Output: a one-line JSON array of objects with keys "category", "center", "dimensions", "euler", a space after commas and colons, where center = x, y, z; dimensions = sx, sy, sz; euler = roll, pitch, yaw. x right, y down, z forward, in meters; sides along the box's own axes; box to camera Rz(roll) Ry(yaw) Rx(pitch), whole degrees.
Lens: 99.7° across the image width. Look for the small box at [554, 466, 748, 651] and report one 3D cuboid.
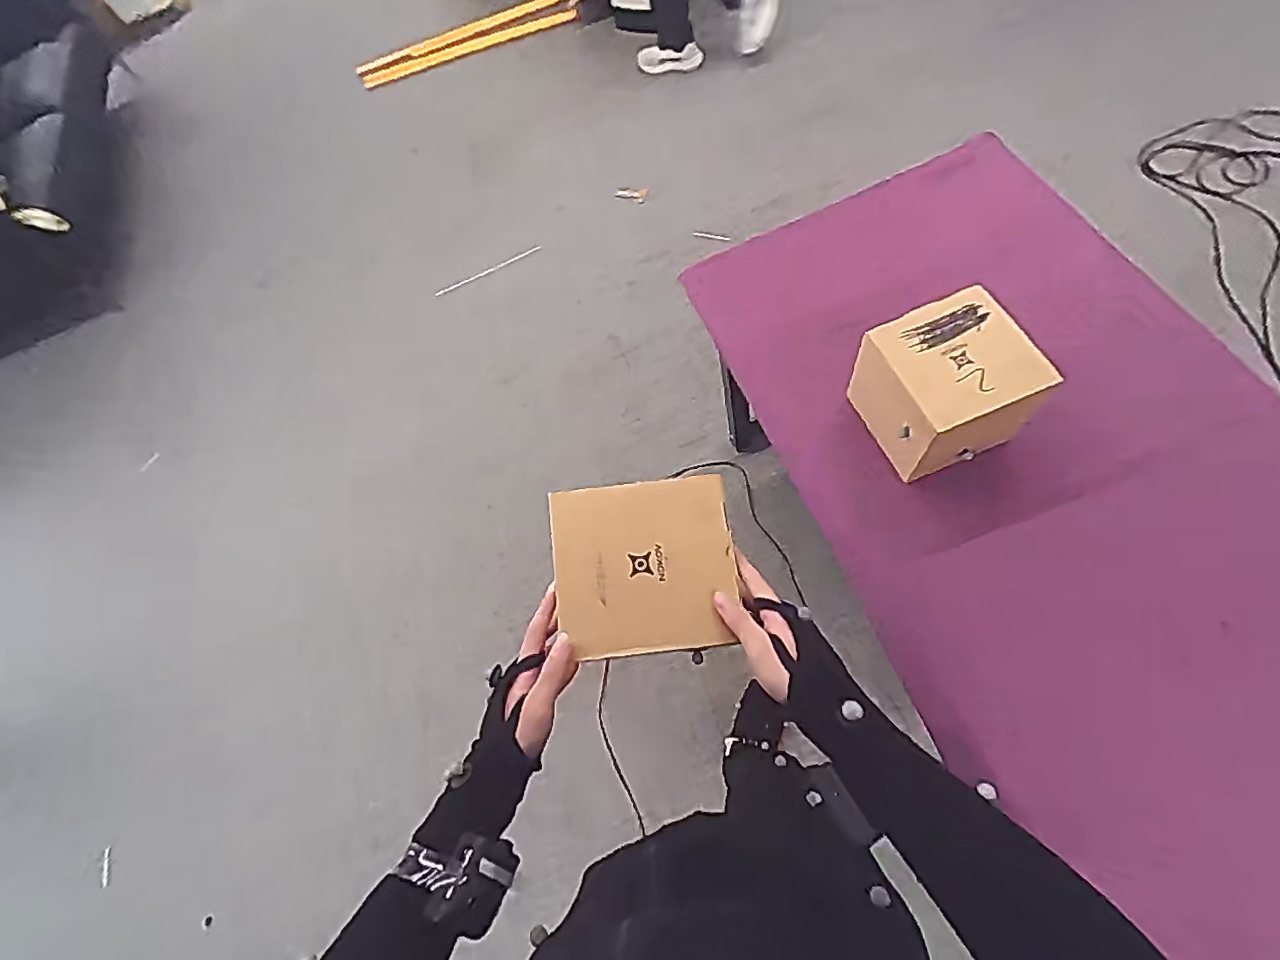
[{"category": "small box", "center": [0.008, 0.095, 0.593], "dimensions": [0.179, 0.176, 0.168], "euler": [-6, 71, 0]}]
